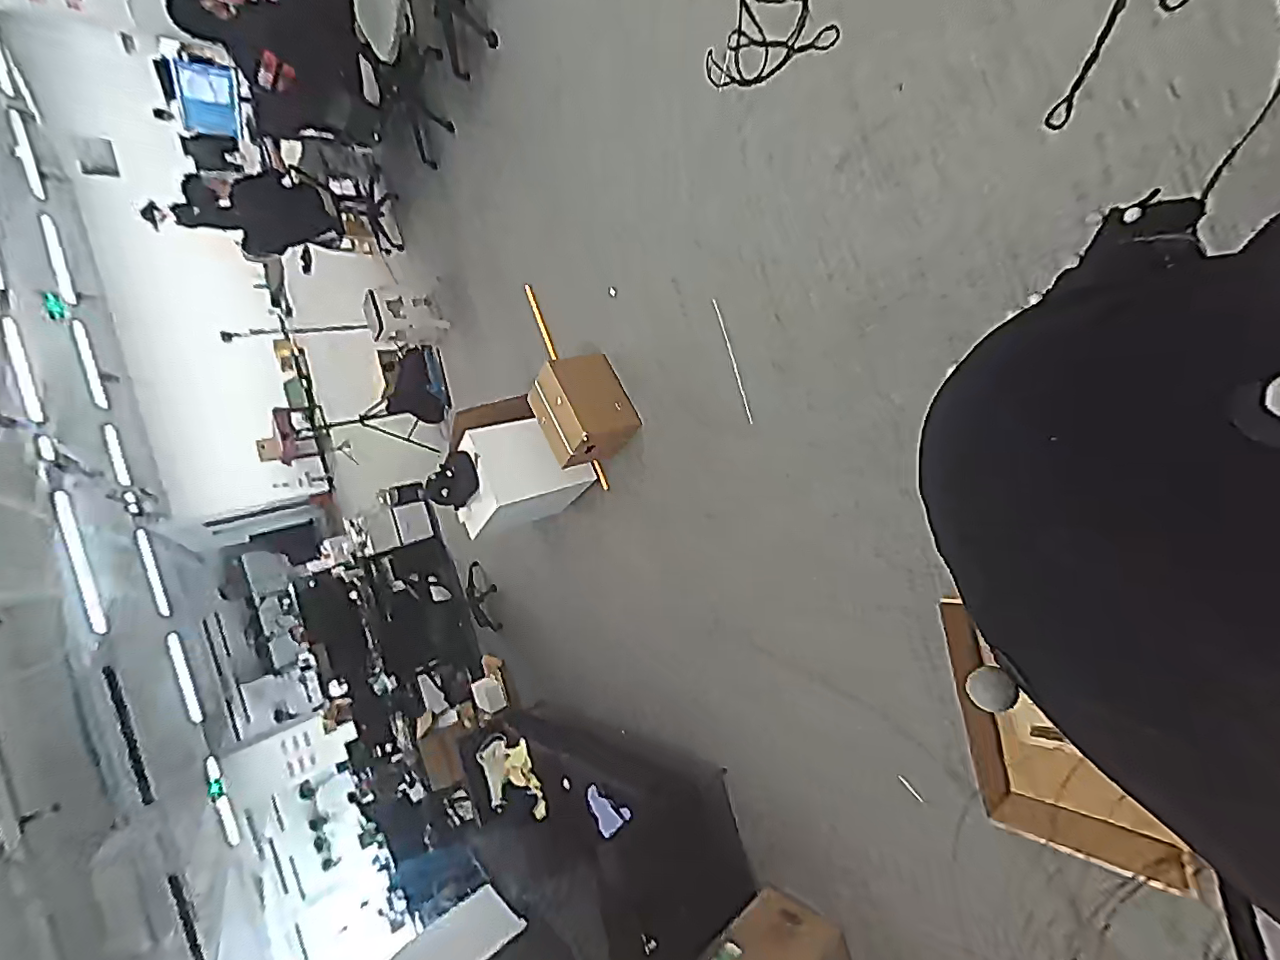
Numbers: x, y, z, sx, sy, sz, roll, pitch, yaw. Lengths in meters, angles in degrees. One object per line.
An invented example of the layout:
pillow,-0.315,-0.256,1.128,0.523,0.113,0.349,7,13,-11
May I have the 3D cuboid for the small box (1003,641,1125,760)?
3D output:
small box,0.975,0.496,1.242,0.168,0.176,0.179,-12,94,55
